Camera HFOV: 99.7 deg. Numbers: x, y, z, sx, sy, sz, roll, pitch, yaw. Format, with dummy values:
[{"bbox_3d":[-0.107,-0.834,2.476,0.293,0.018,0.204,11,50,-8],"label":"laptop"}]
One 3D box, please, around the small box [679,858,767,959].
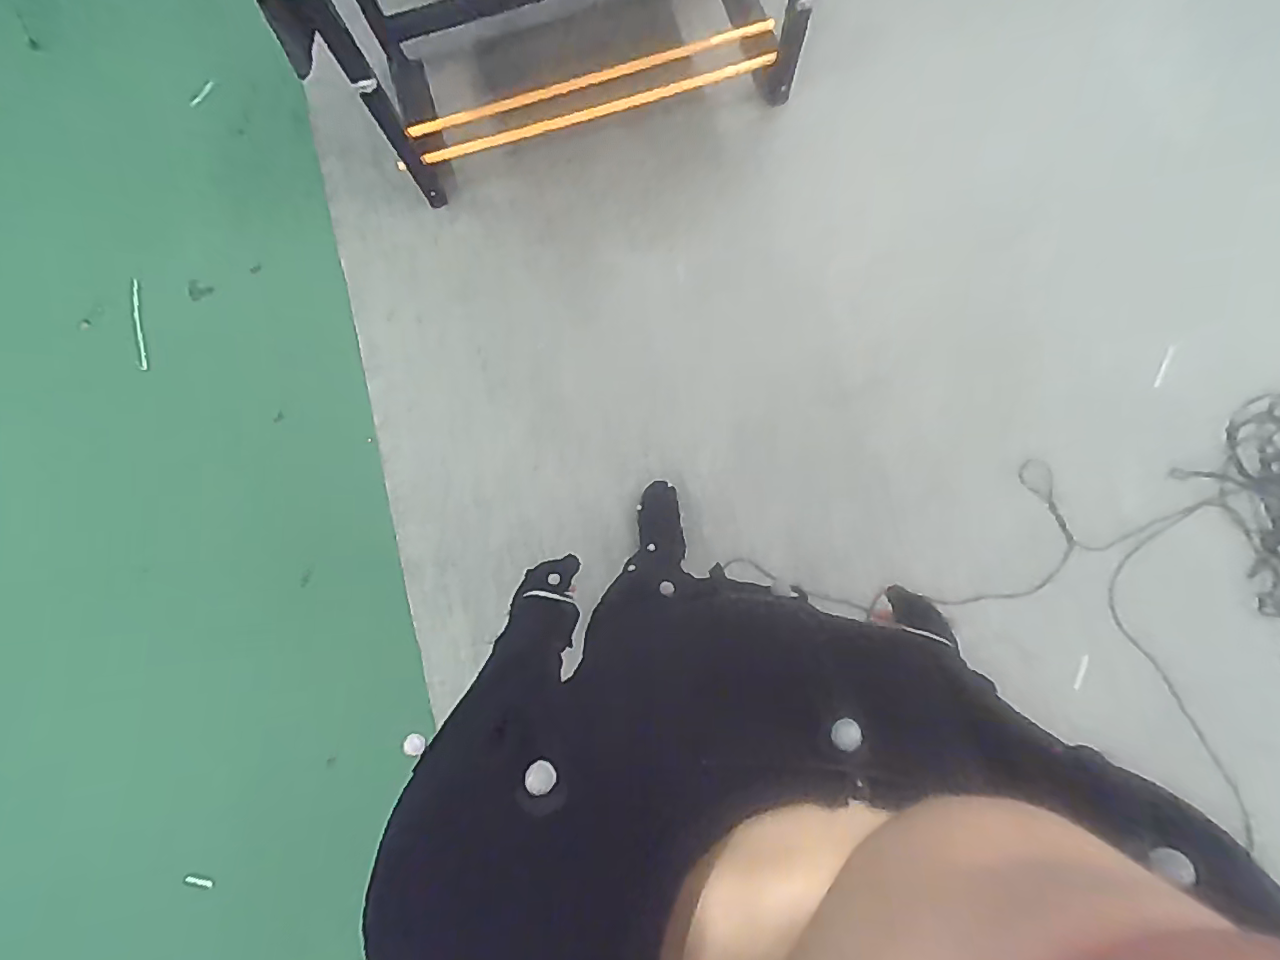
[{"bbox_3d":[0.191,1.027,1.253,0.168,0.176,0.179,-14,79,0],"label":"small box"}]
